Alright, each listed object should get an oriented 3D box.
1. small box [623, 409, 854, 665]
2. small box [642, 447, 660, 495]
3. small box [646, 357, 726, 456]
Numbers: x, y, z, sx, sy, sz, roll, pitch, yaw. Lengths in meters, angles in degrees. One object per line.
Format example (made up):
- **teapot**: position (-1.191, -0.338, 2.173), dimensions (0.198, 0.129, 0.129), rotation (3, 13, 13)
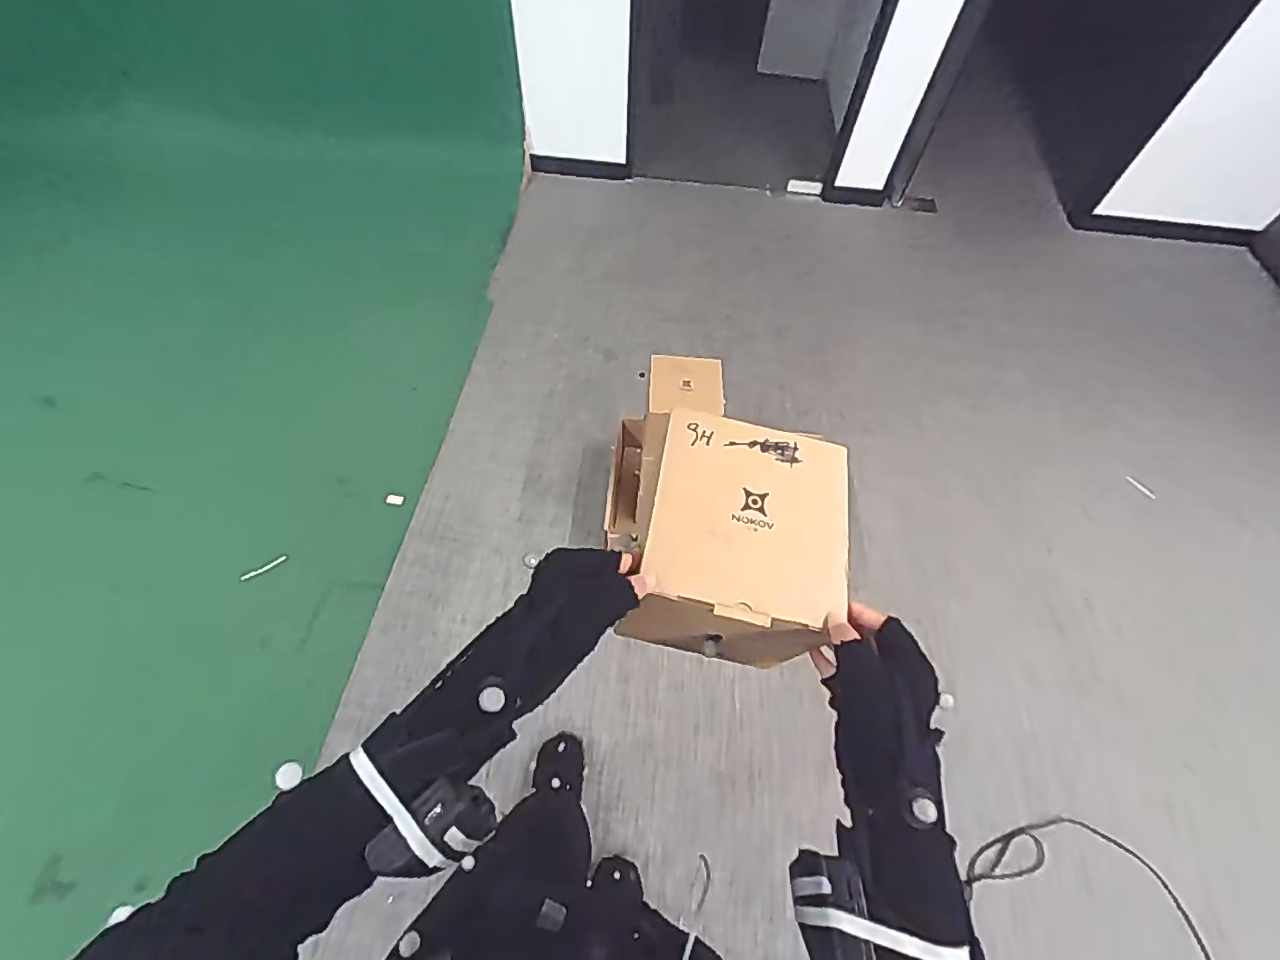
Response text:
- **small box**: position (0.084, 0.065, 0.514), dimensions (0.168, 0.176, 0.179), rotation (14, 62, -3)
- **small box**: position (0.096, -0.066, 1.394), dimensions (0.168, 0.176, 0.179), rotation (6, 57, 0)
- **small box**: position (0.104, -0.160, 1.261), dimensions (0.168, 0.176, 0.179), rotation (5, 57, -2)
